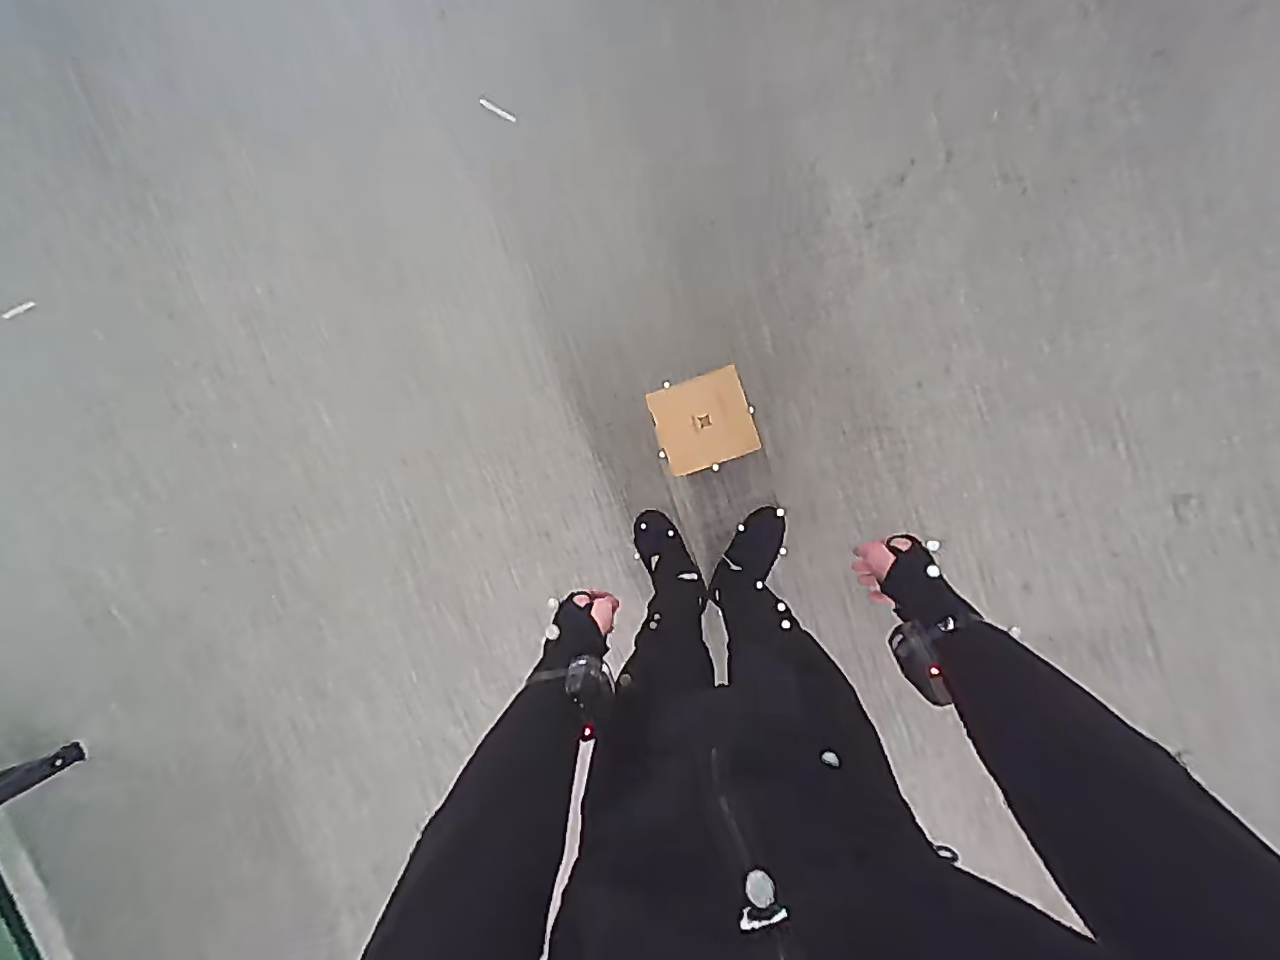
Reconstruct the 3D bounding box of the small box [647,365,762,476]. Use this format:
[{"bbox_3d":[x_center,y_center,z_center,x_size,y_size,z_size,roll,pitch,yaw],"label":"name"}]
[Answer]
[{"bbox_3d":[0.127,-0.116,1.082,0.179,0.176,0.168,-19,94,6],"label":"small box"}]
